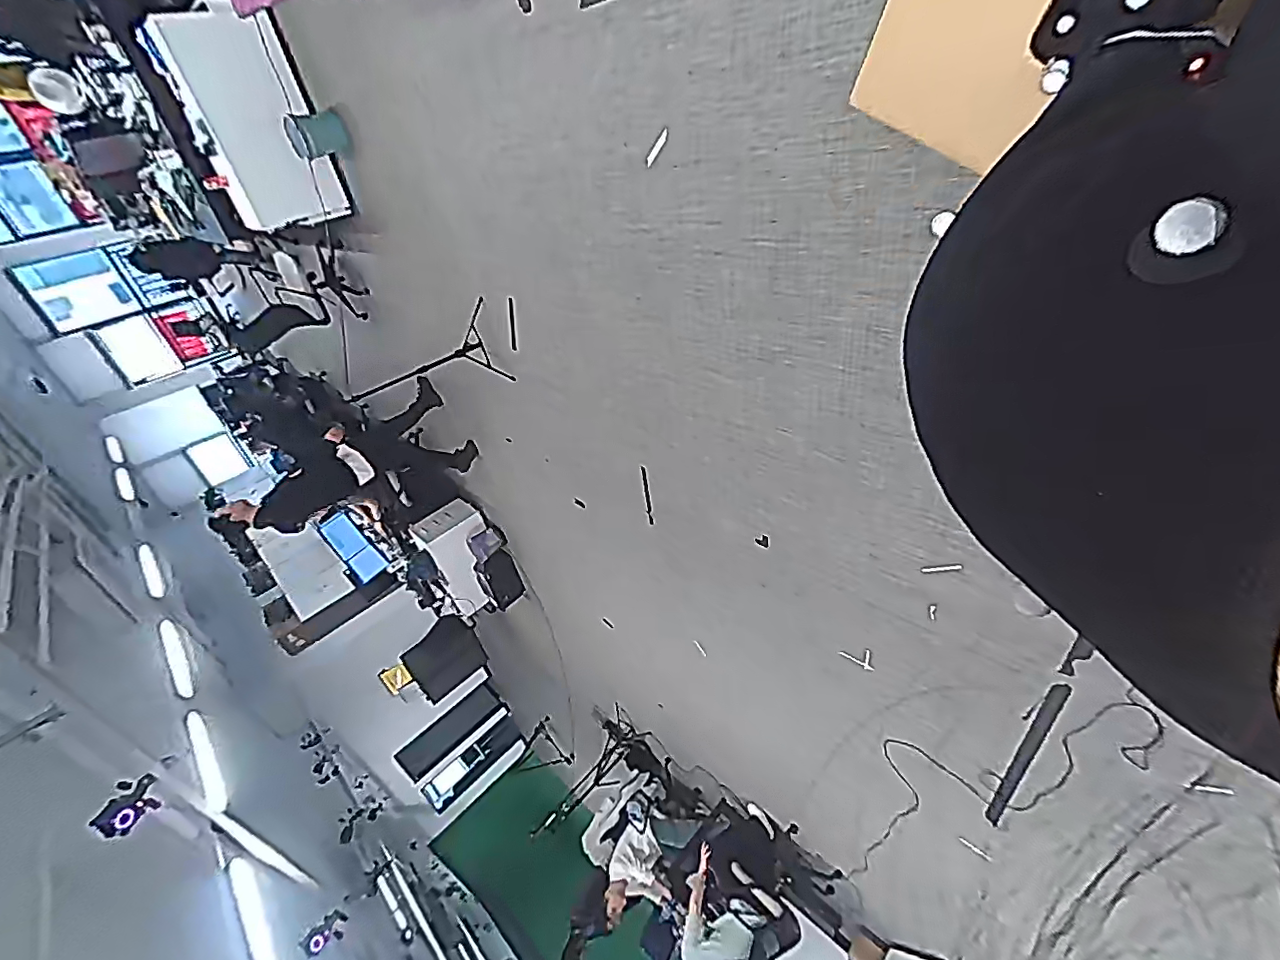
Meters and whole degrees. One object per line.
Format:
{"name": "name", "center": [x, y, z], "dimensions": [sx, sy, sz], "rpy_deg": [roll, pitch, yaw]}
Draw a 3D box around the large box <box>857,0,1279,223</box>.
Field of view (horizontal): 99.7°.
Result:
{"name": "large box", "center": [0.562, -0.554, 0.659], "dimensions": [0.320, 0.408, 0.320], "rpy_deg": [54, 149, 29]}
